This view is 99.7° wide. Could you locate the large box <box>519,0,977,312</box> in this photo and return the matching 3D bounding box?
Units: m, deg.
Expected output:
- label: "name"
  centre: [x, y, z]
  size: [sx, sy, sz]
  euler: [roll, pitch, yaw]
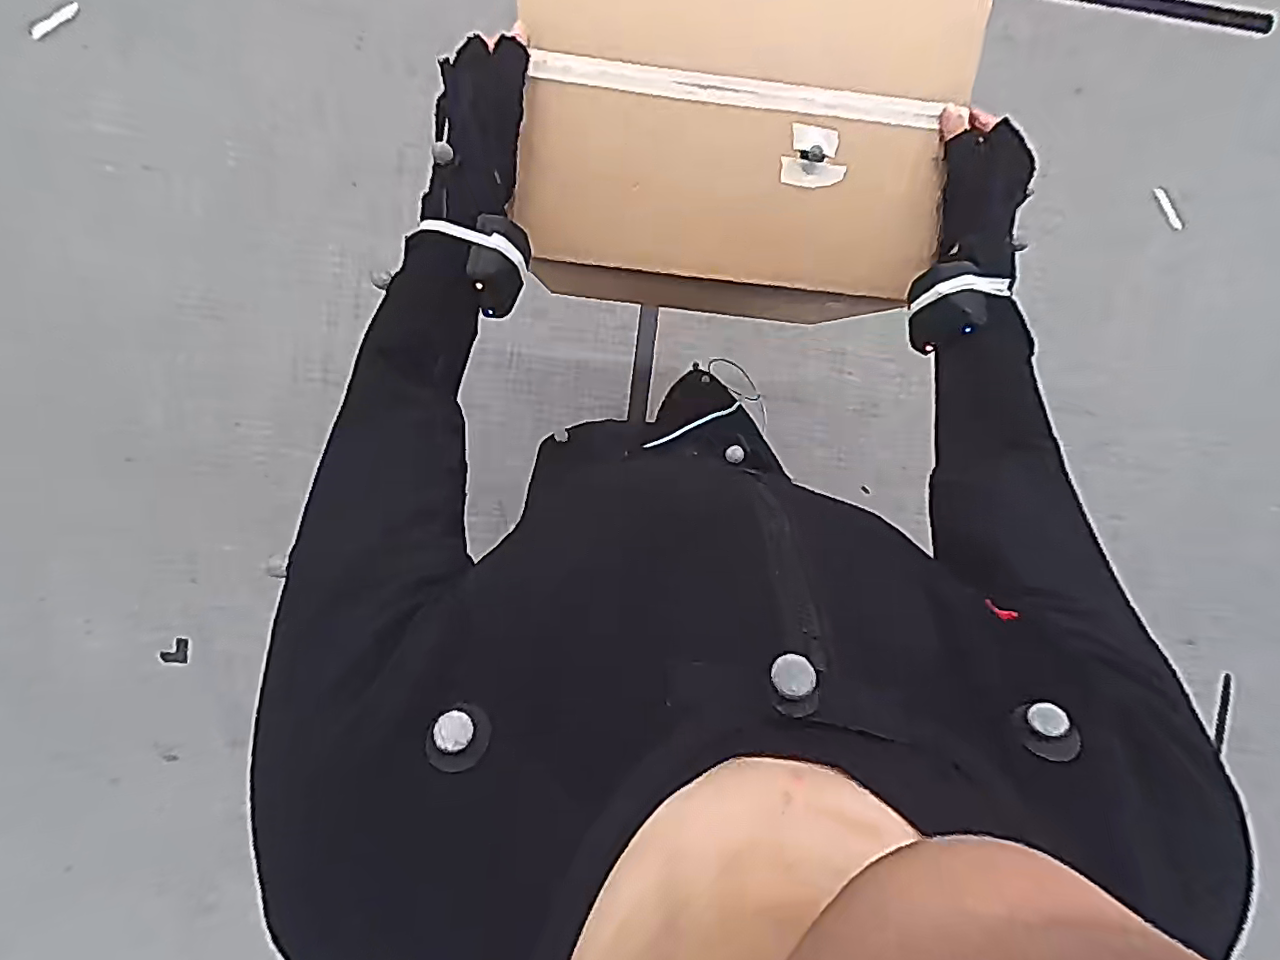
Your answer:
- label: "large box"
  centre: [0.086, -0.386, 0.634]
  size: [0.408, 0.320, 0.320]
  euler: [5, 103, -4]
